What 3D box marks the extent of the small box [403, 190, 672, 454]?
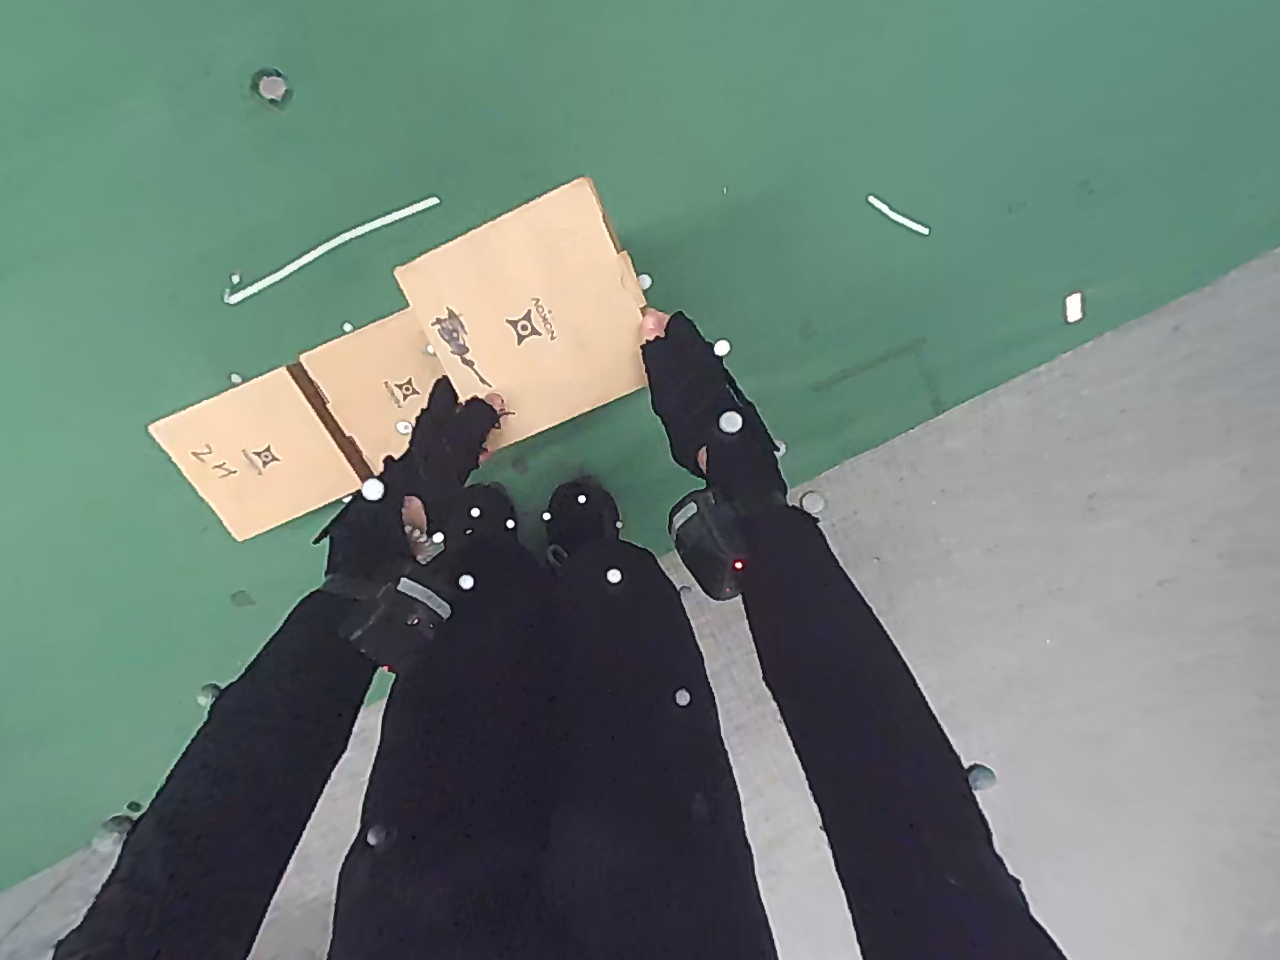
[{"bbox_3d":[-0.082,-0.147,0.519,0.179,0.176,0.168,-21,106,6],"label":"small box"}]
